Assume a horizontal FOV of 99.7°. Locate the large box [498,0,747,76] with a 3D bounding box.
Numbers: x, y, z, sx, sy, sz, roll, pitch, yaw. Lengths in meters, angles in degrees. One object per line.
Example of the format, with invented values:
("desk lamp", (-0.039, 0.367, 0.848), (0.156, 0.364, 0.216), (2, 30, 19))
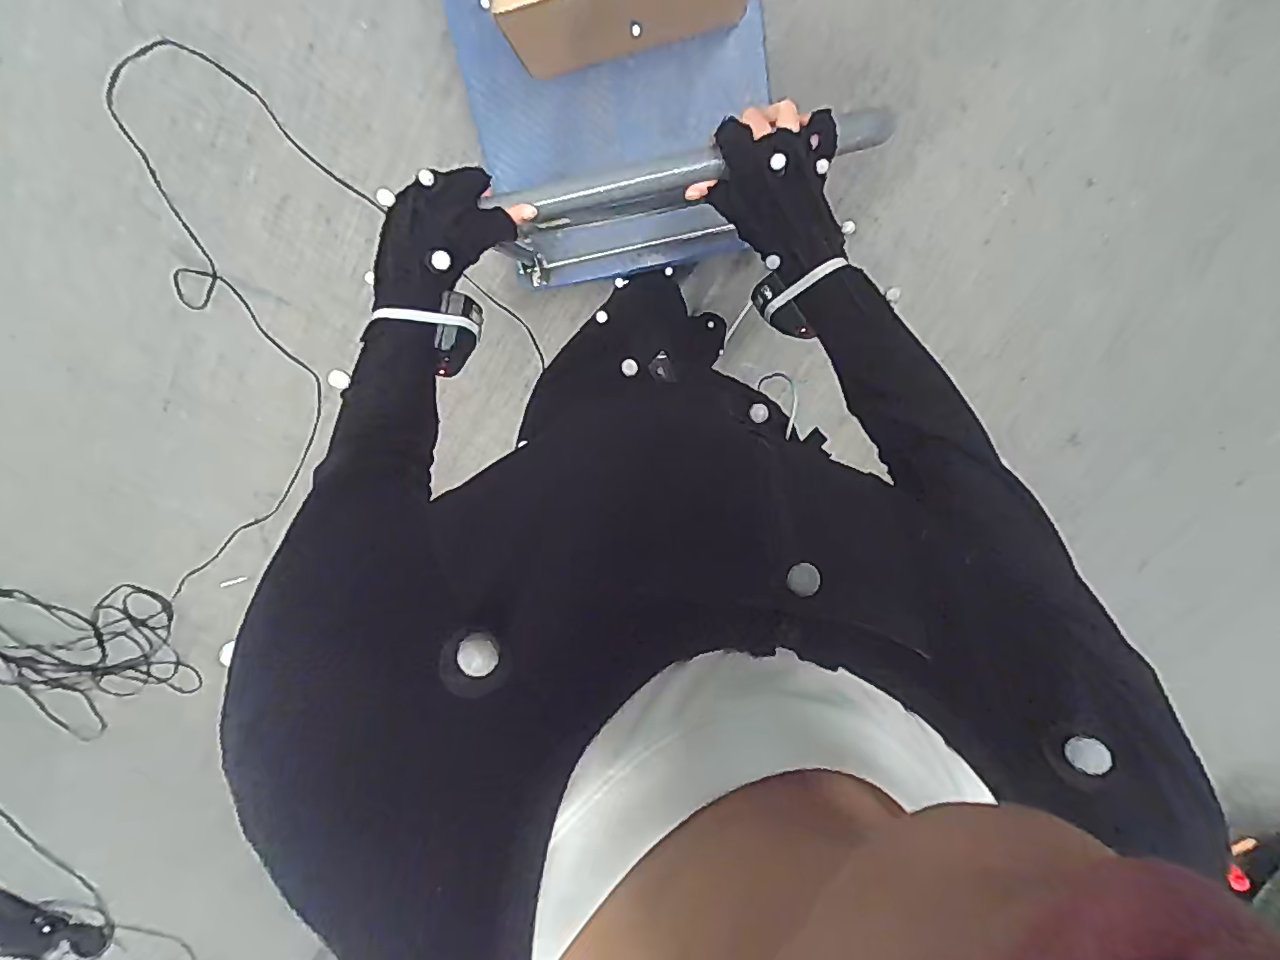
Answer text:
("large box", (-0.037, -0.903, 0.837), (0.408, 0.320, 0.320), (-12, 110, 6))
